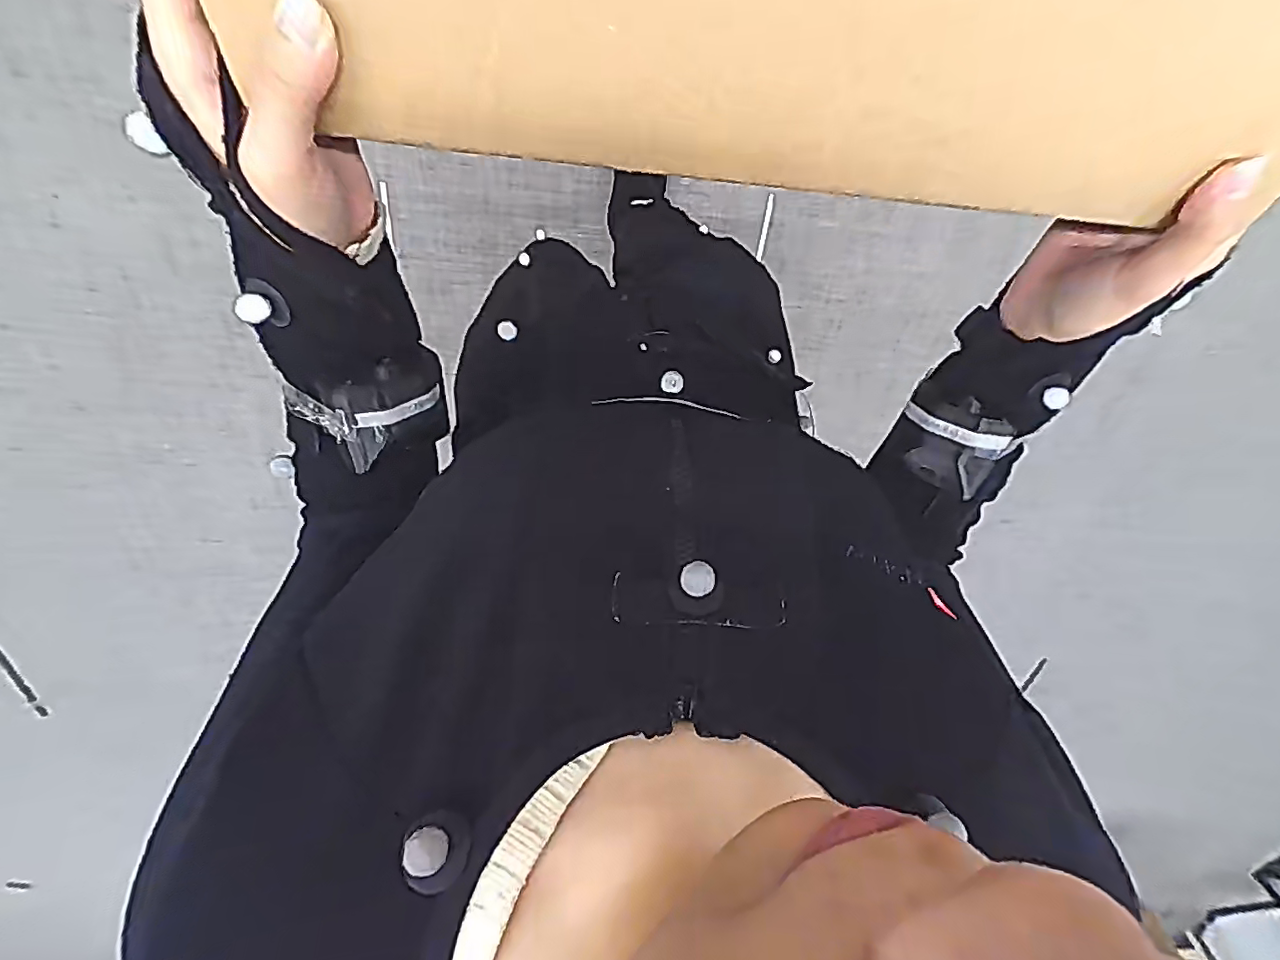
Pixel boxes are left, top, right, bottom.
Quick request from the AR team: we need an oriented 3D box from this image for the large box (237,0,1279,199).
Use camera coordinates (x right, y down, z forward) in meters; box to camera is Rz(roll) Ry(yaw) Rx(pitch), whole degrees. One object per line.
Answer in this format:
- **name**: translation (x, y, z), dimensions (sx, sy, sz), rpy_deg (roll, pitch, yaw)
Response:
- **large box**: translation (0.070, -0.339, 0.197), dimensions (0.408, 0.320, 0.320), rpy_deg (2, 142, -7)
